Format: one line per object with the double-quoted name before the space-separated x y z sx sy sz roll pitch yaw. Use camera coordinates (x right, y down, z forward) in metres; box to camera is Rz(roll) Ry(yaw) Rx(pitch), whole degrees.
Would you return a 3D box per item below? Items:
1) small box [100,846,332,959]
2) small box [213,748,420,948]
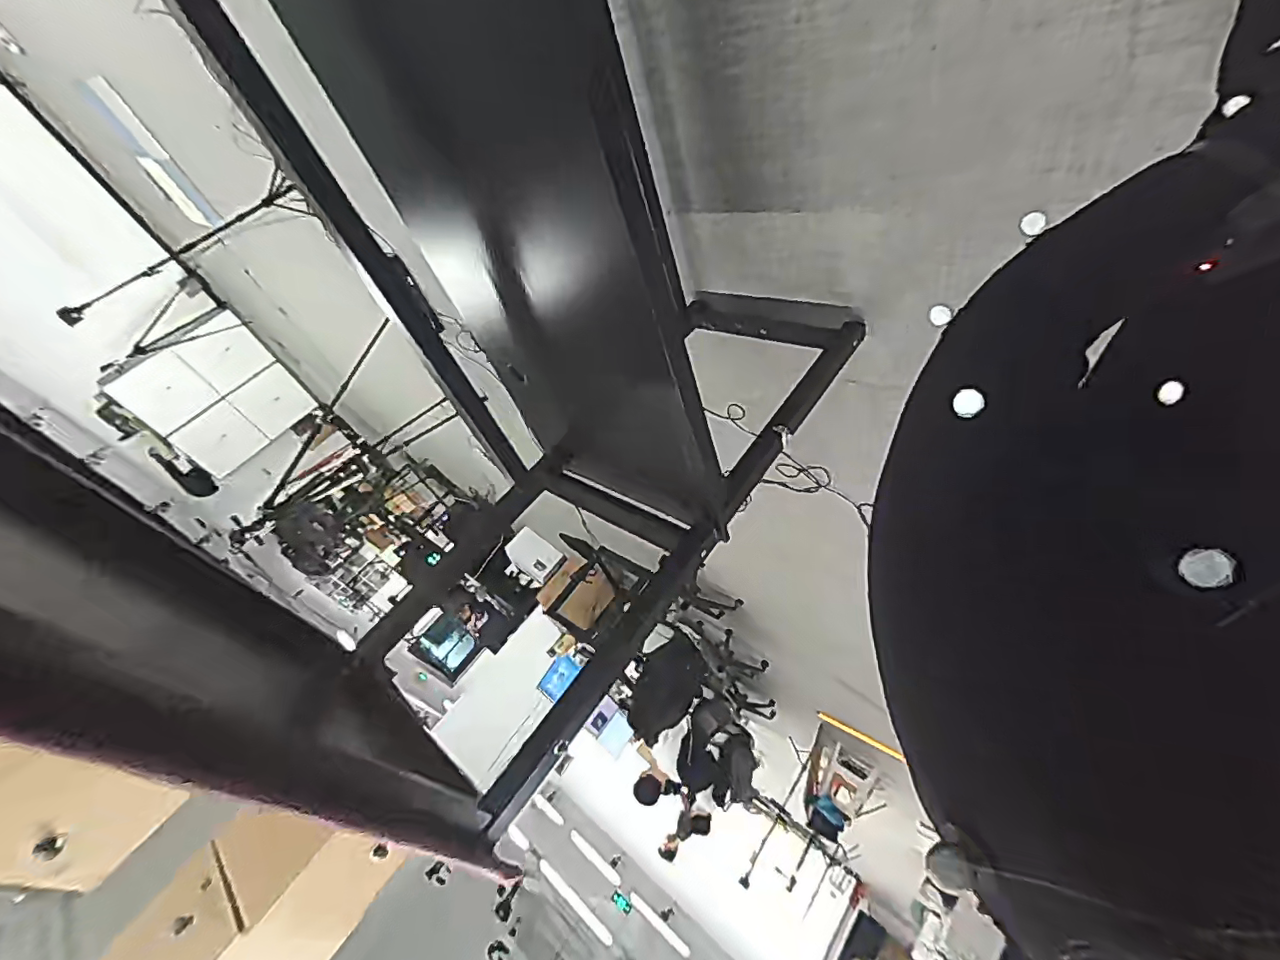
"small box" -0.558 0.637 0.725 0.168 0.176 0.179 19 150 40
"small box" -0.459 0.519 0.784 0.179 0.176 0.168 19 150 39
